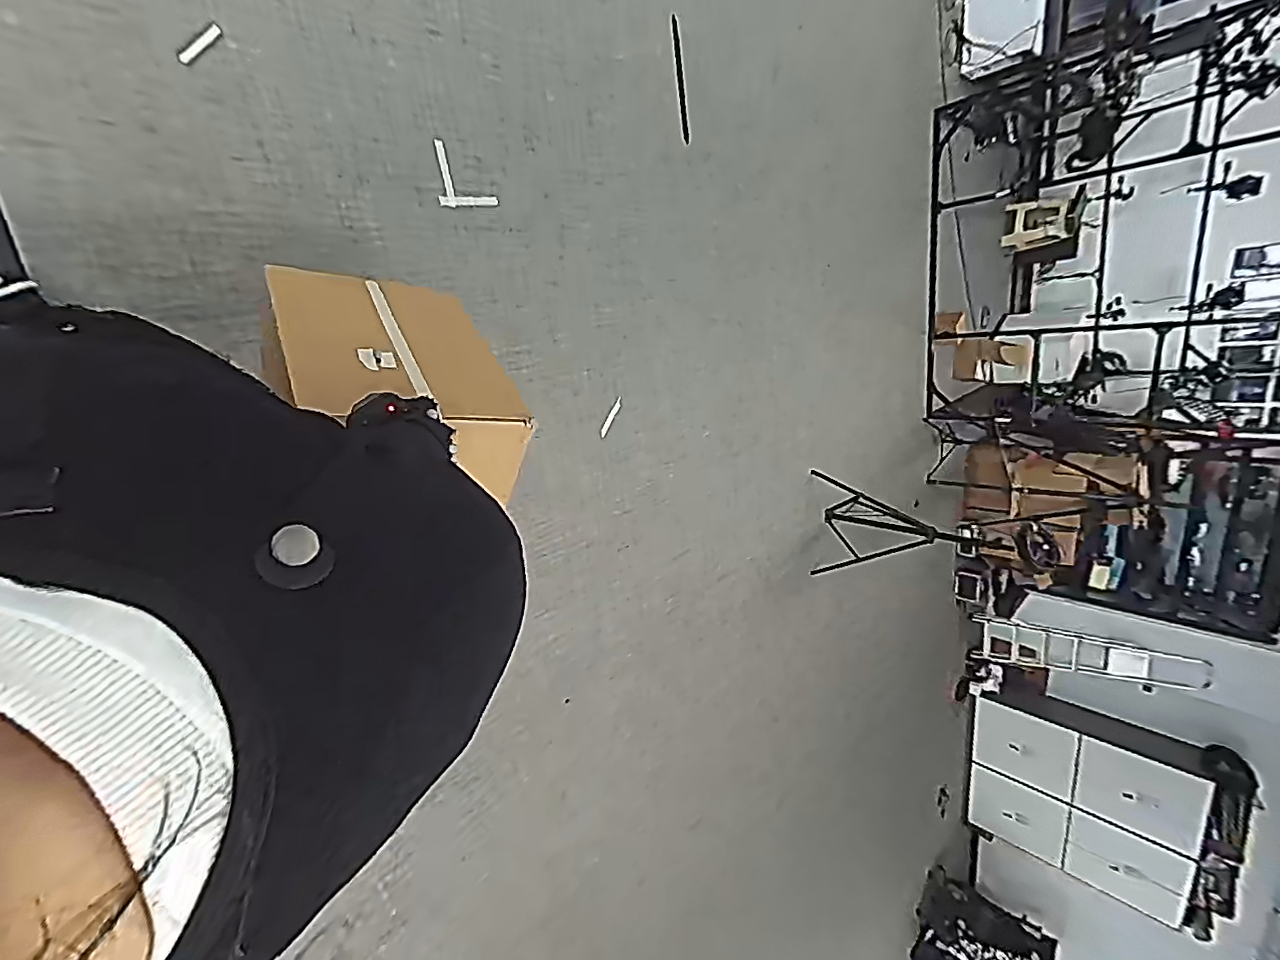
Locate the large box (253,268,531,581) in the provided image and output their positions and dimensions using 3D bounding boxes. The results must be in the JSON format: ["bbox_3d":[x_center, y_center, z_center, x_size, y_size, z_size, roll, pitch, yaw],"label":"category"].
[{"bbox_3d":[-0.445,-0.097,0.921,0.320,0.408,0.320,-4,135,-40],"label":"large box"}]
